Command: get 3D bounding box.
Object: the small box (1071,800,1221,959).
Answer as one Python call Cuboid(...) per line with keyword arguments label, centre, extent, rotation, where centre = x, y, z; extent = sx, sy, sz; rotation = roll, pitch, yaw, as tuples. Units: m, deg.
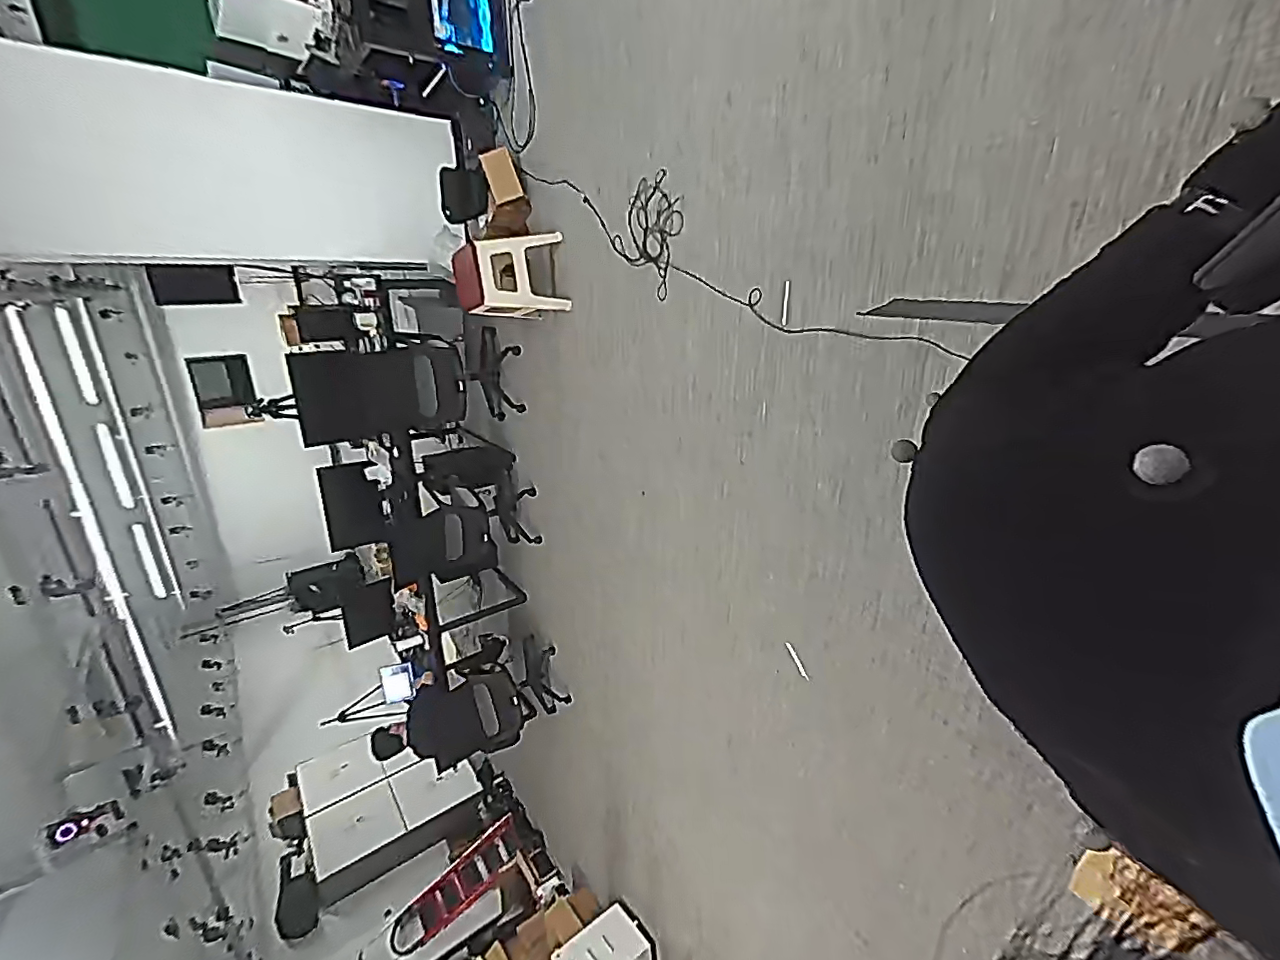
Cuboid(label="small box", centre=(1.032, 0.810, 1.103), extent=(0.168, 0.176, 0.179), rotation=(29, 124, 45))
